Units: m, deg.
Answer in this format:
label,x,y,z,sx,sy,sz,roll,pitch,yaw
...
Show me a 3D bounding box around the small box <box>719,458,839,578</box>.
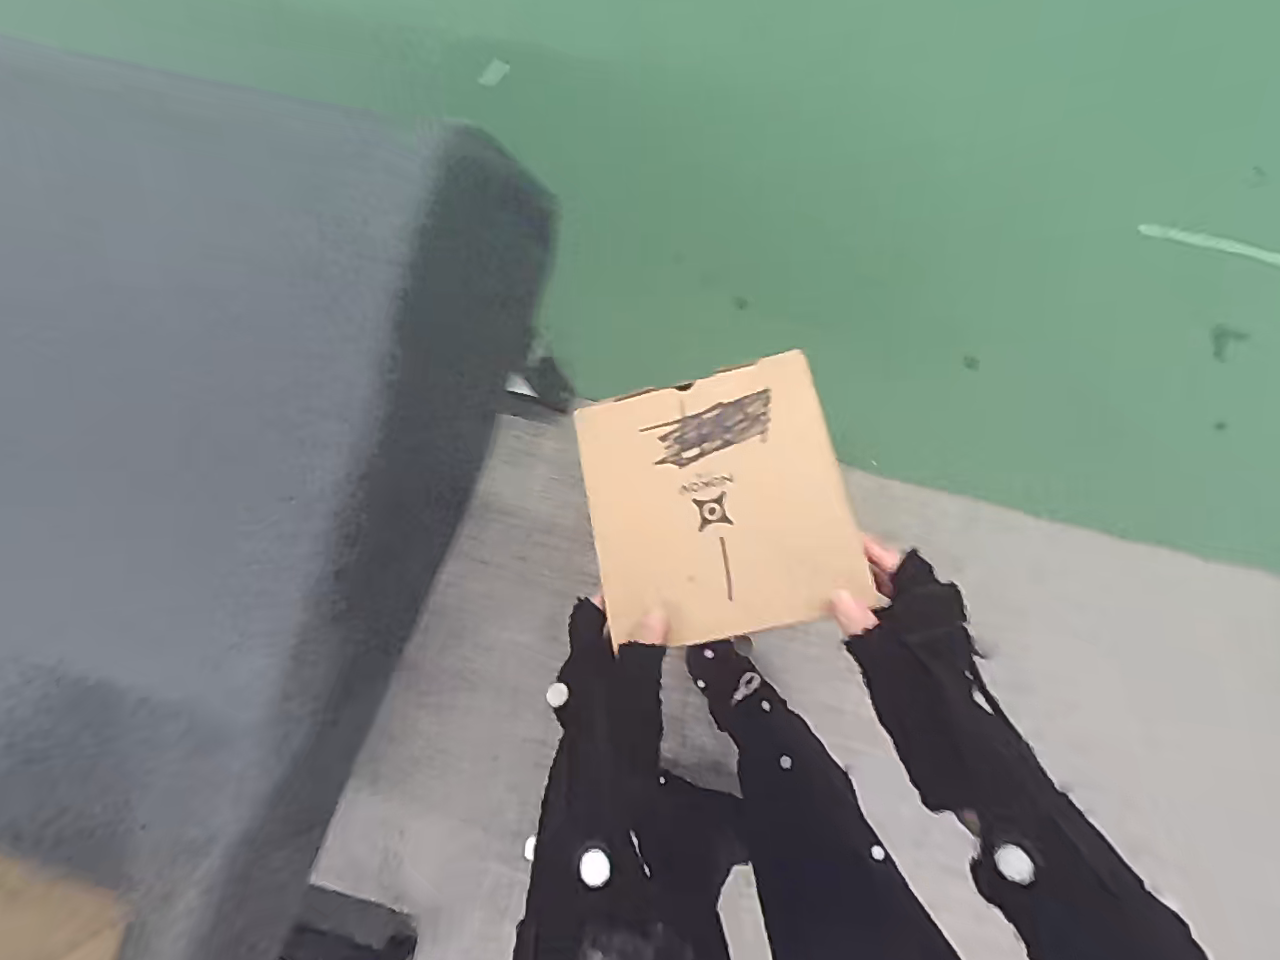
label,x,y,z,sx,sy,sz,roll,pitch,yaw
small box,0.256,0.075,1.039,0.168,0.176,0.179,18,86,6
